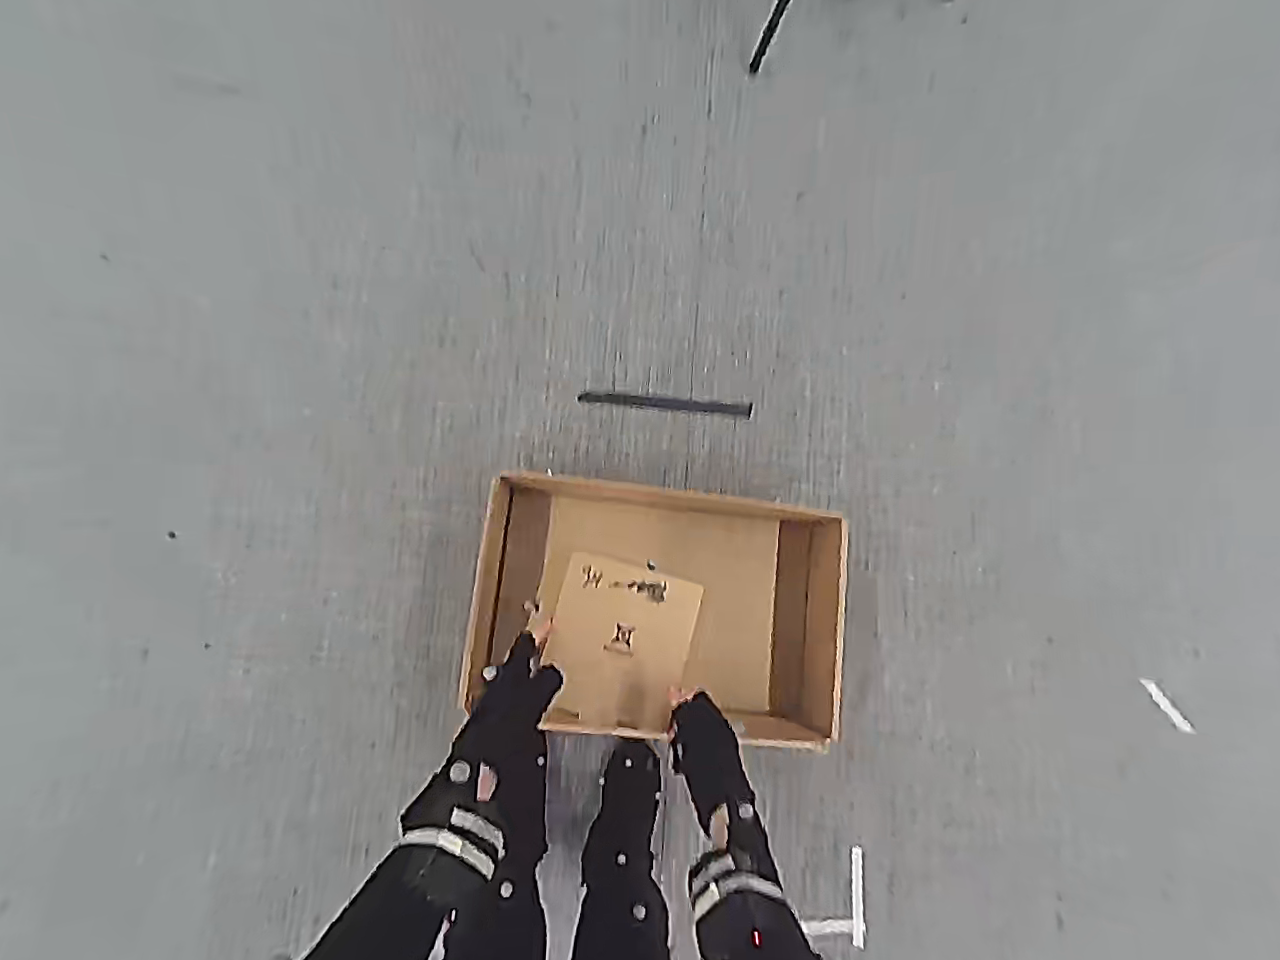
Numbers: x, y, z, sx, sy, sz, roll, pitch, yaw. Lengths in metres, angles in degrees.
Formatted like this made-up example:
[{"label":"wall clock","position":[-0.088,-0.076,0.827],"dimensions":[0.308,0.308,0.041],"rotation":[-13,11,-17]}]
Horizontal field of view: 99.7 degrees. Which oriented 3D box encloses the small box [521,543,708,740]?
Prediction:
[{"label":"small box","position":[-0.042,0.185,0.665],"dimensions":[0.168,0.176,0.179],"rotation":[19,81,-15]}]
